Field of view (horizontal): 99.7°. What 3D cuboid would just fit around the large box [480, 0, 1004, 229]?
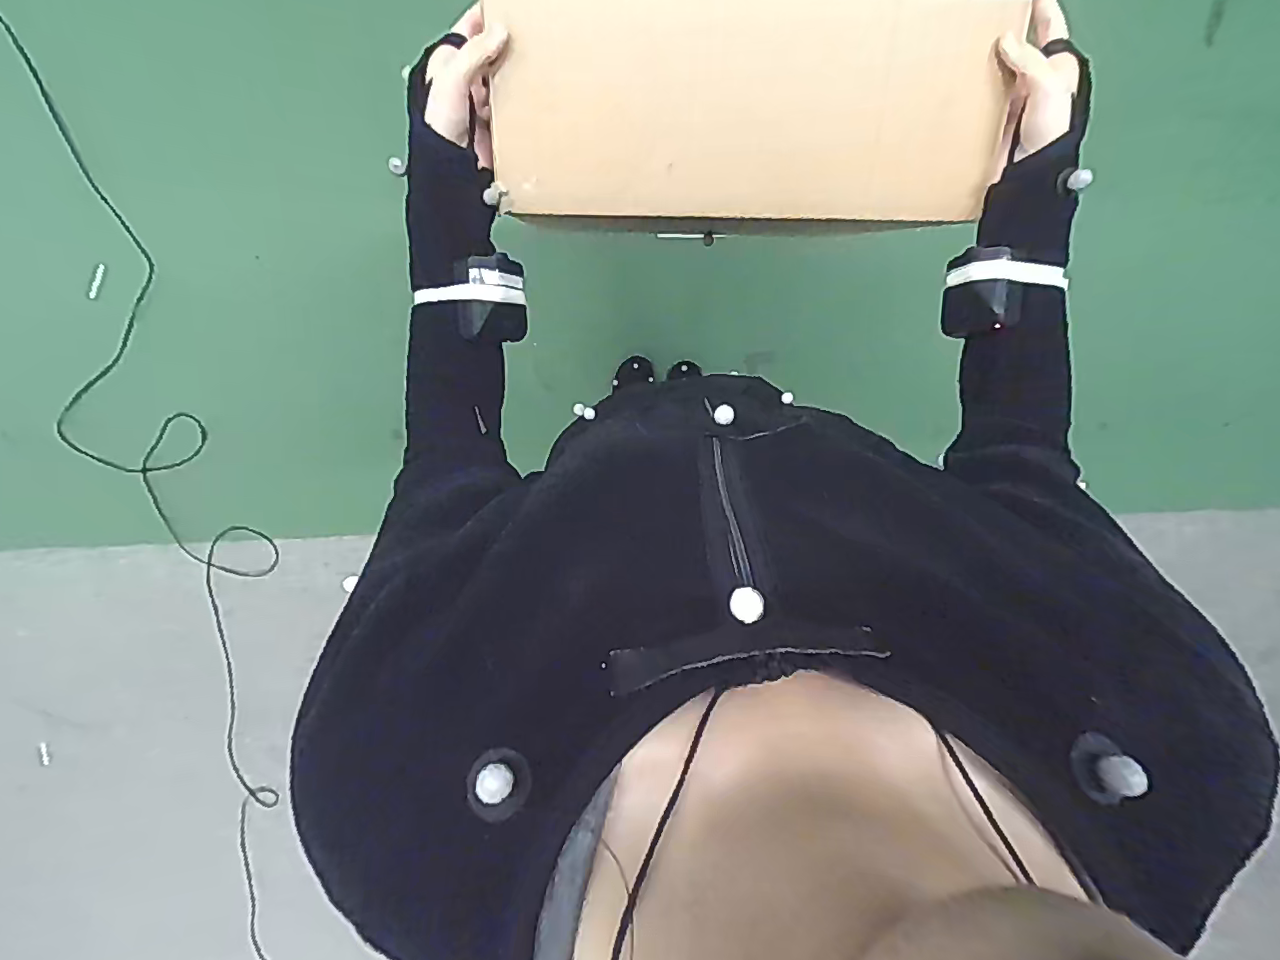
[{"bbox_3d":[0.073,-0.423,0.535,0.408,0.320,0.320,-1,112,-3],"label":"large box"}]
